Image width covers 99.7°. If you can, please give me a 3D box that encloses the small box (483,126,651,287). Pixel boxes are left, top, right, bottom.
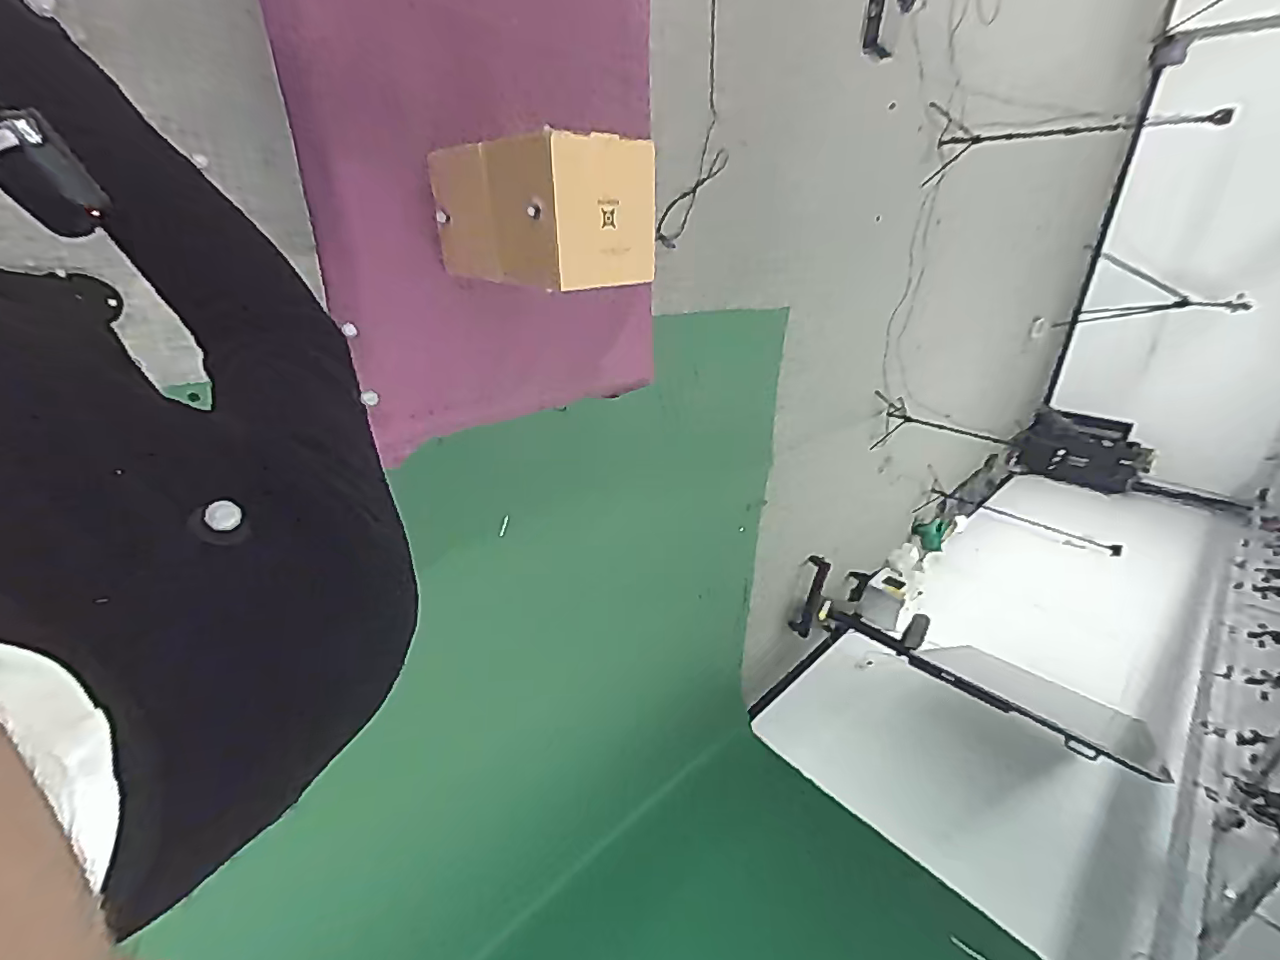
[{"bbox_3d":[-0.101,-0.368,0.746,0.168,0.176,0.179,-21,123,-37],"label":"small box"}]

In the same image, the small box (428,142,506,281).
[{"bbox_3d":[-0.213,-0.421,0.854,0.168,0.176,0.179,-23,125,-37],"label":"small box"}]
